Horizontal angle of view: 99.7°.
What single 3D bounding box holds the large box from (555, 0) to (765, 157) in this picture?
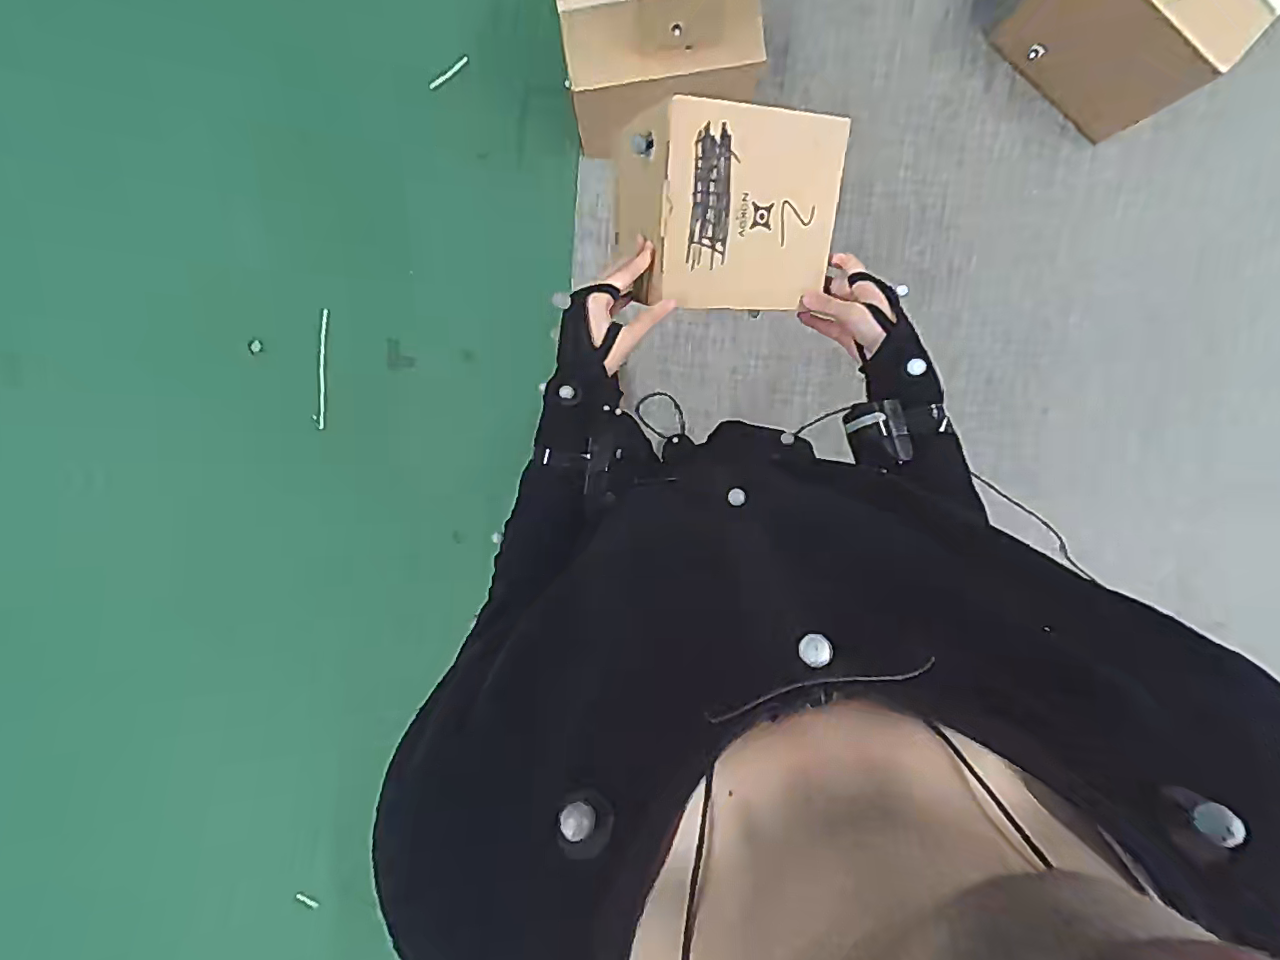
[{"bbox_3d":[0.033,-0.982,1.212,0.408,0.320,0.320,-9,97,1],"label":"large box"}]
